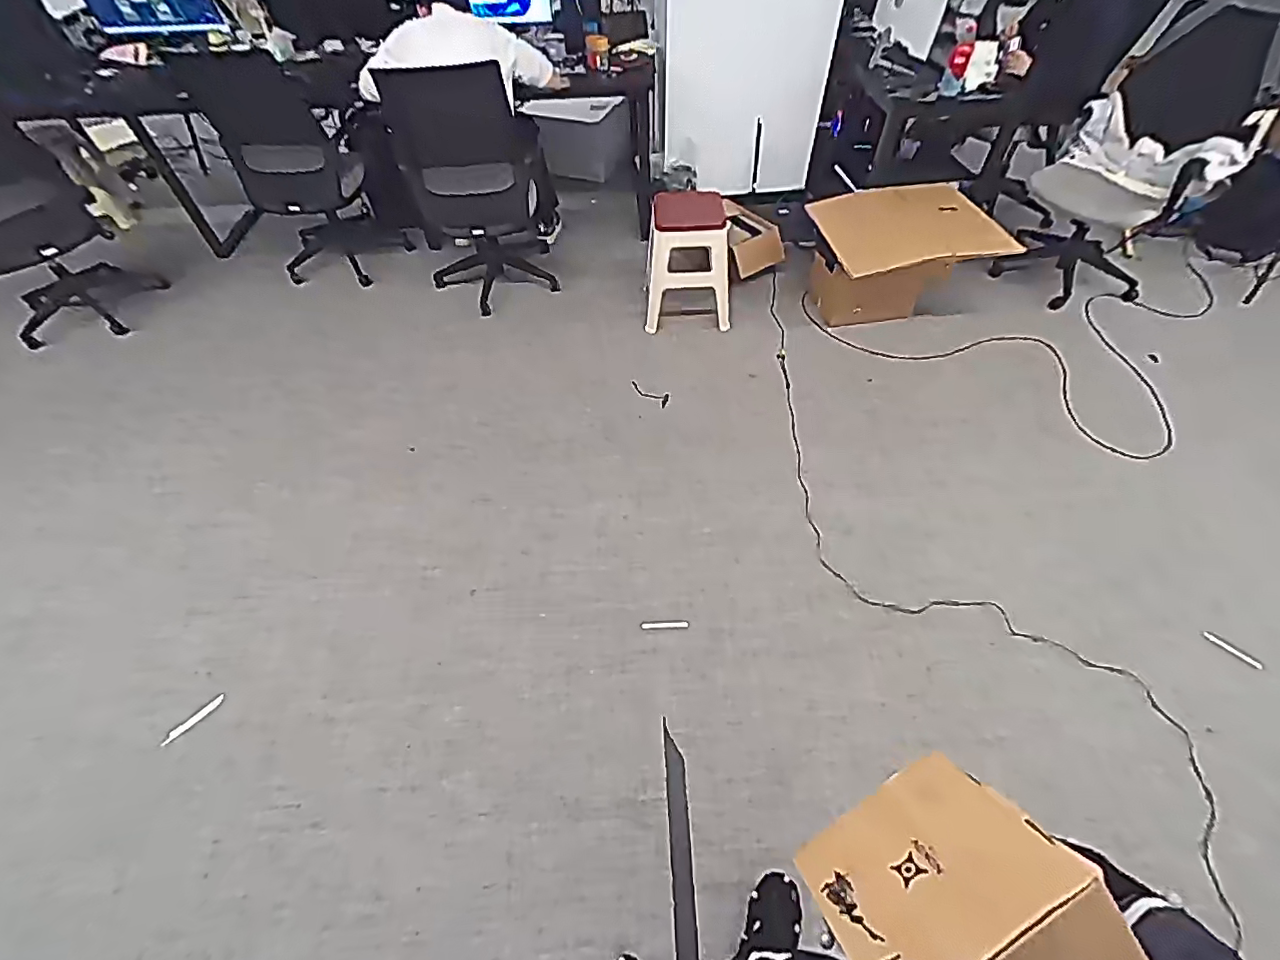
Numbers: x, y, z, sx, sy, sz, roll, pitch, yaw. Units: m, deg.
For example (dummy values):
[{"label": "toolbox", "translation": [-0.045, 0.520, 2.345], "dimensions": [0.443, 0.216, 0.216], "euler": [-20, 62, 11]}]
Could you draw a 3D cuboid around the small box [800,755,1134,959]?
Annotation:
[{"label": "small box", "translation": [0.275, 0.386, 0.455], "dimensions": [0.179, 0.168, 0.176], "euler": [-32, 95, -5]}]
